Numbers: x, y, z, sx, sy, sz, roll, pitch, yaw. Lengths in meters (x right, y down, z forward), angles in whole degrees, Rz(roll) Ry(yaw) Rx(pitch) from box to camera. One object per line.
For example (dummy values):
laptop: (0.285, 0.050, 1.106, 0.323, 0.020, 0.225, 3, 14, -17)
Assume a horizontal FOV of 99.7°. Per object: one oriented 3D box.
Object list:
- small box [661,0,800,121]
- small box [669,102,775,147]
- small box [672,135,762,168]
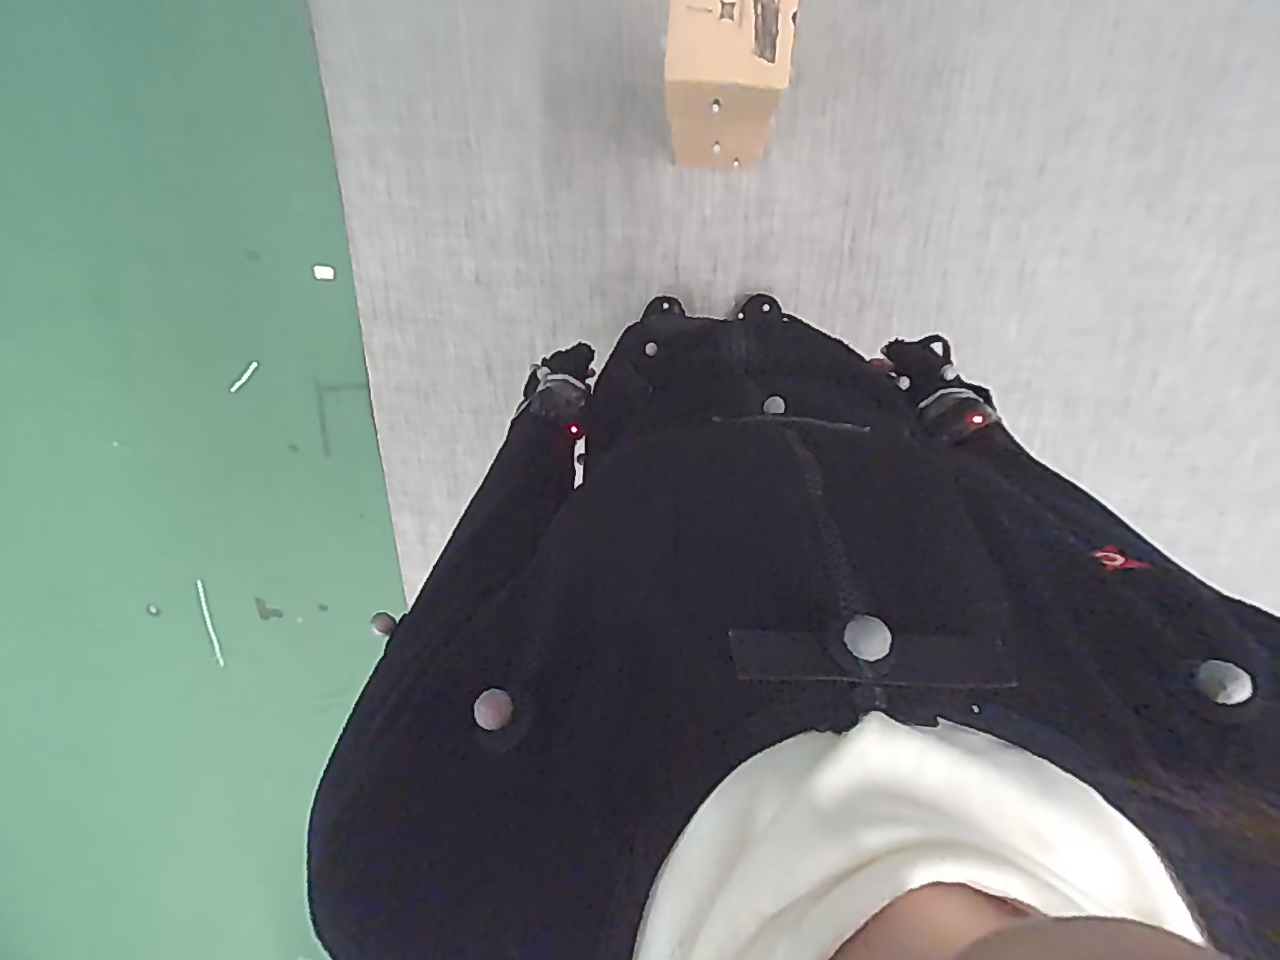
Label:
small box: (0.131, -0.656, 0.803, 0.179, 0.176, 0.168, 8, 109, 3)
small box: (0.145, -0.708, 0.959, 0.179, 0.176, 0.168, 5, 109, 2)
small box: (0.160, -0.757, 1.115, 0.179, 0.176, 0.168, 4, 108, 4)
